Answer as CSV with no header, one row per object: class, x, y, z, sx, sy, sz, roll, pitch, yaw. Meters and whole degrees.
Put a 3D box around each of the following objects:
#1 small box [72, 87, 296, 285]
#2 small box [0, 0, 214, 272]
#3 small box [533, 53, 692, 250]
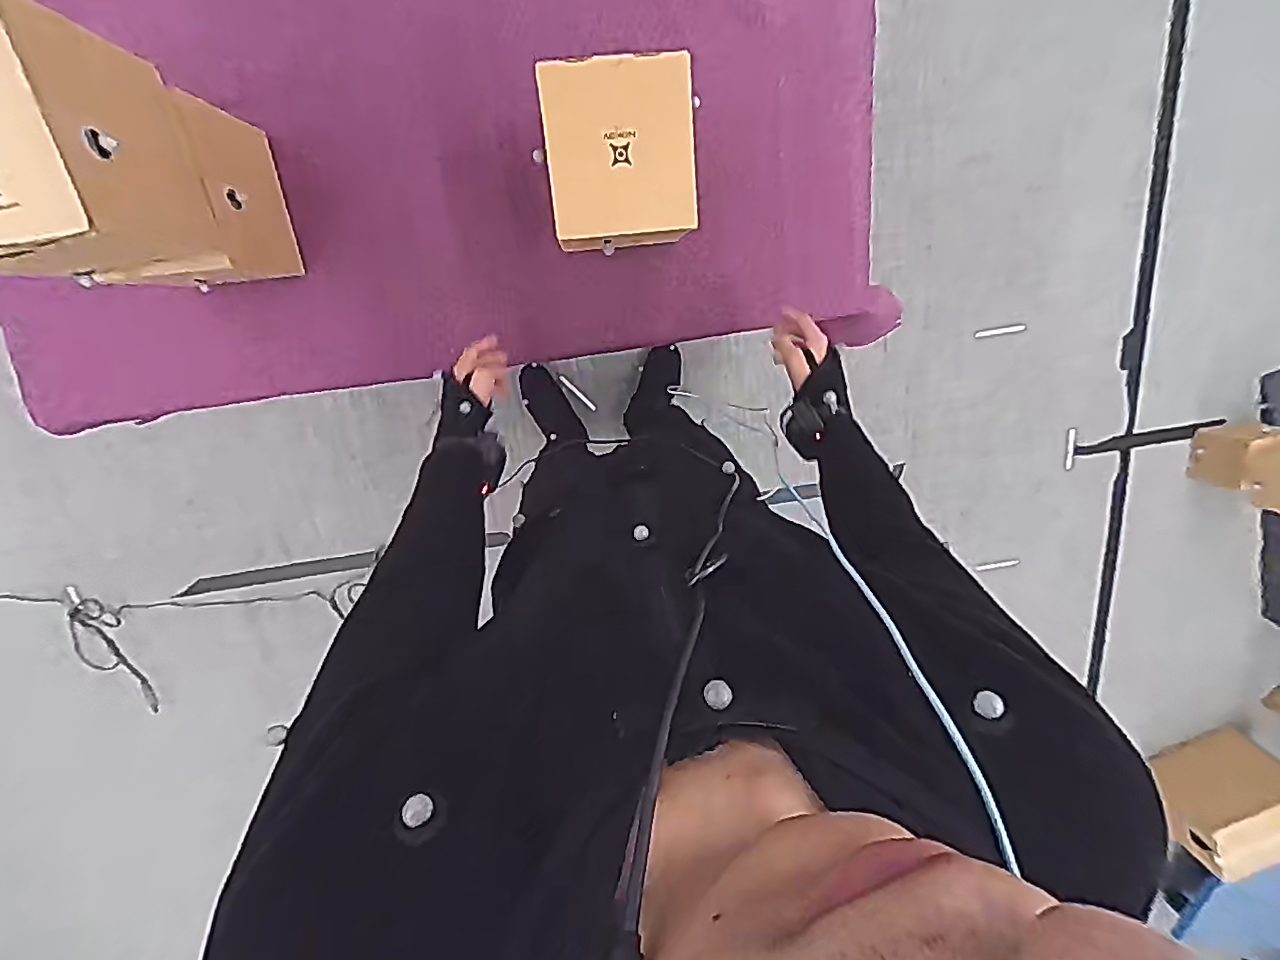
small box,-0.547,-0.329,0.639,0.168,0.176,0.179,-7,109,-4
small box,-0.537,-0.288,0.480,0.168,0.176,0.179,-11,108,-2
small box,-0.031,-0.389,0.674,0.168,0.176,0.179,-7,108,-3
